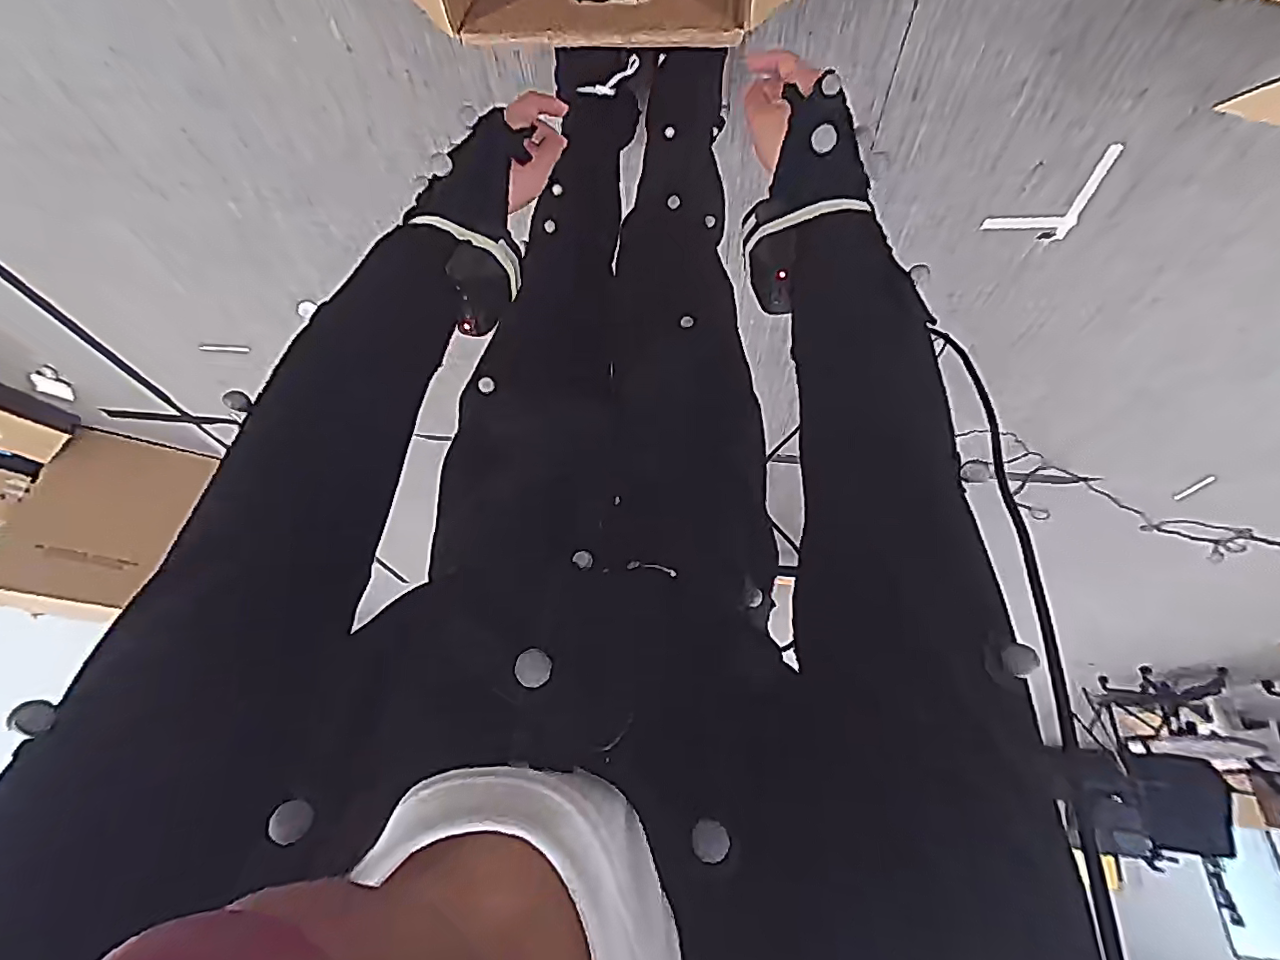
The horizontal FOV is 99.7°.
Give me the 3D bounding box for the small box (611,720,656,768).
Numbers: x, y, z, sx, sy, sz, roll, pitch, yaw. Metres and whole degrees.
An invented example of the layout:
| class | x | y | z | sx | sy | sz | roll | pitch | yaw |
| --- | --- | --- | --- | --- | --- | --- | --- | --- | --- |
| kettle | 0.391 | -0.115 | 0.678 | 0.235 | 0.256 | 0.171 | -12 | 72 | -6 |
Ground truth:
| class | x | y | z | sx | sy | sz | roll | pitch | yaw |
| --- | --- | --- | --- | --- | --- | --- | --- | --- | --- |
| small box | -0.029 | 1.141 | 2.339 | 0.179 | 0.176 | 0.168 | 8 | 149 | 0 |
